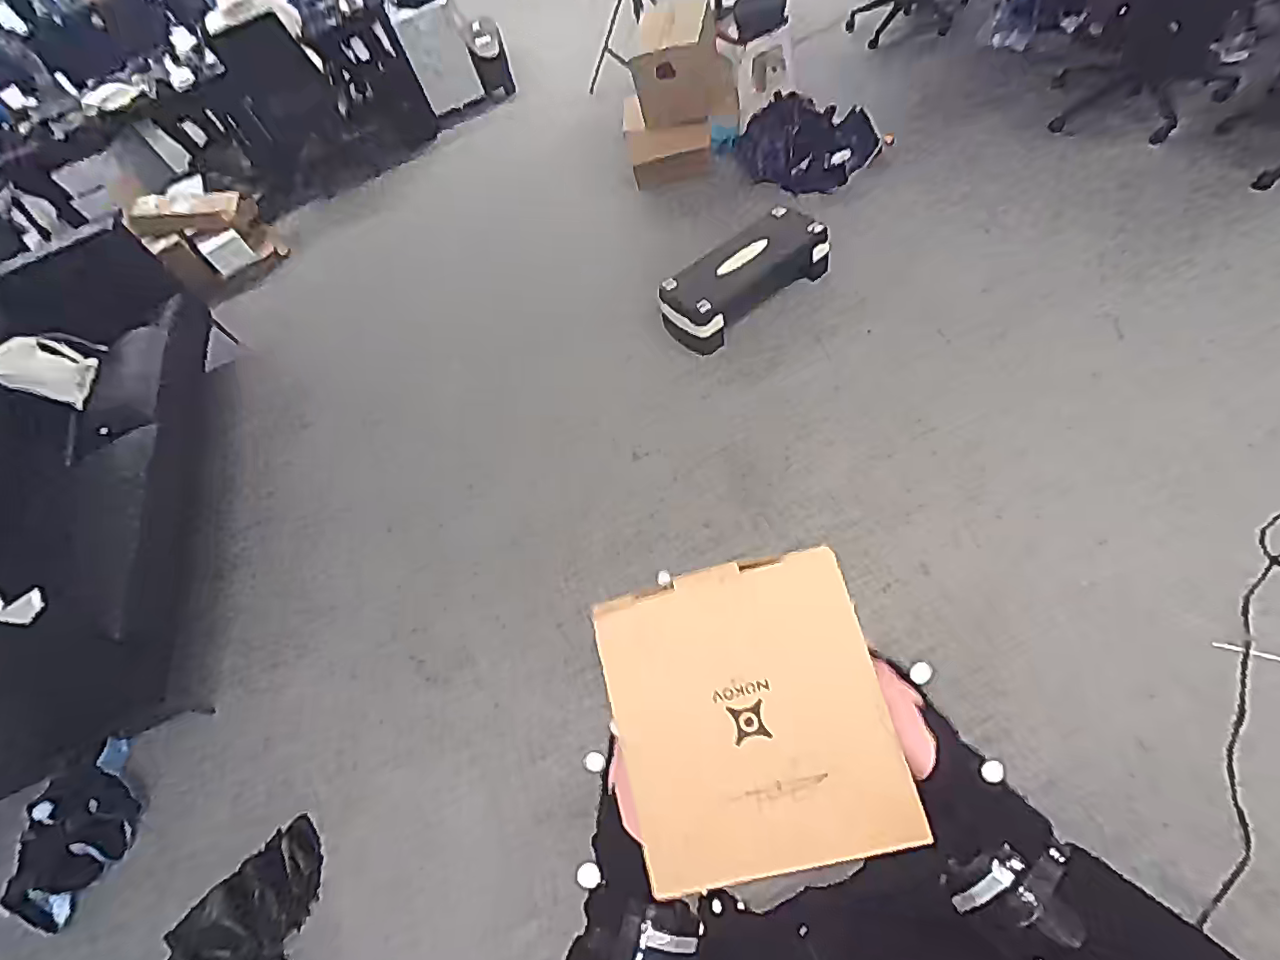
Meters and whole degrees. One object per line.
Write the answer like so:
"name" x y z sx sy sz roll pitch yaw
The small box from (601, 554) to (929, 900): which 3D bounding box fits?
"small box" 0.082 0.169 0.417 0.168 0.176 0.179 -17 75 6
